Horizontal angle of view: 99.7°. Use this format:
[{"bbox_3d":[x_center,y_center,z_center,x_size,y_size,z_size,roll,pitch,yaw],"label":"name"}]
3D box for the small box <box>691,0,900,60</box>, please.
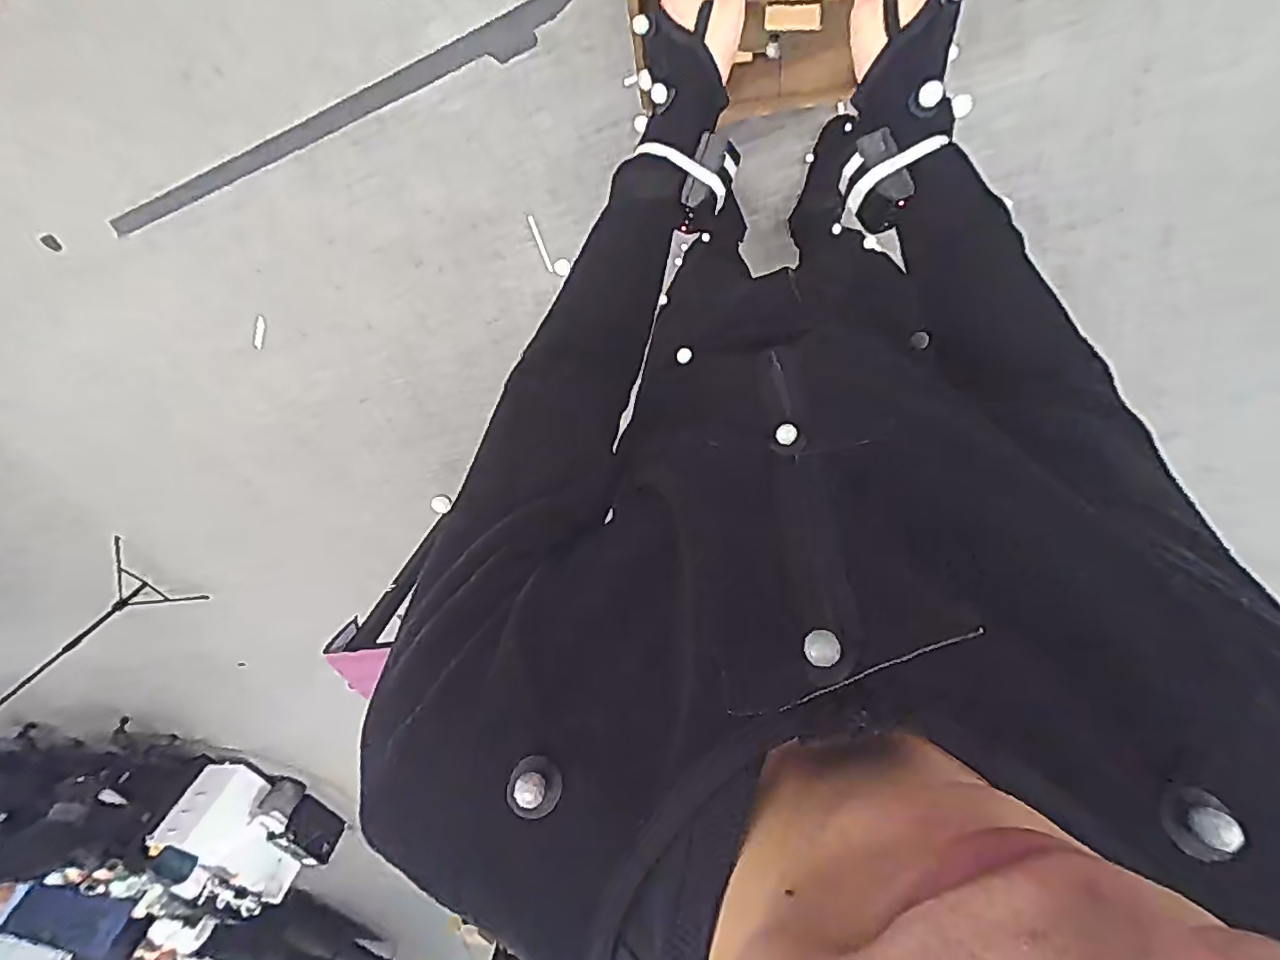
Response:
[{"bbox_3d":[0.131,-0.489,0.460,0.168,0.176,0.179,2,116,4],"label":"small box"}]
